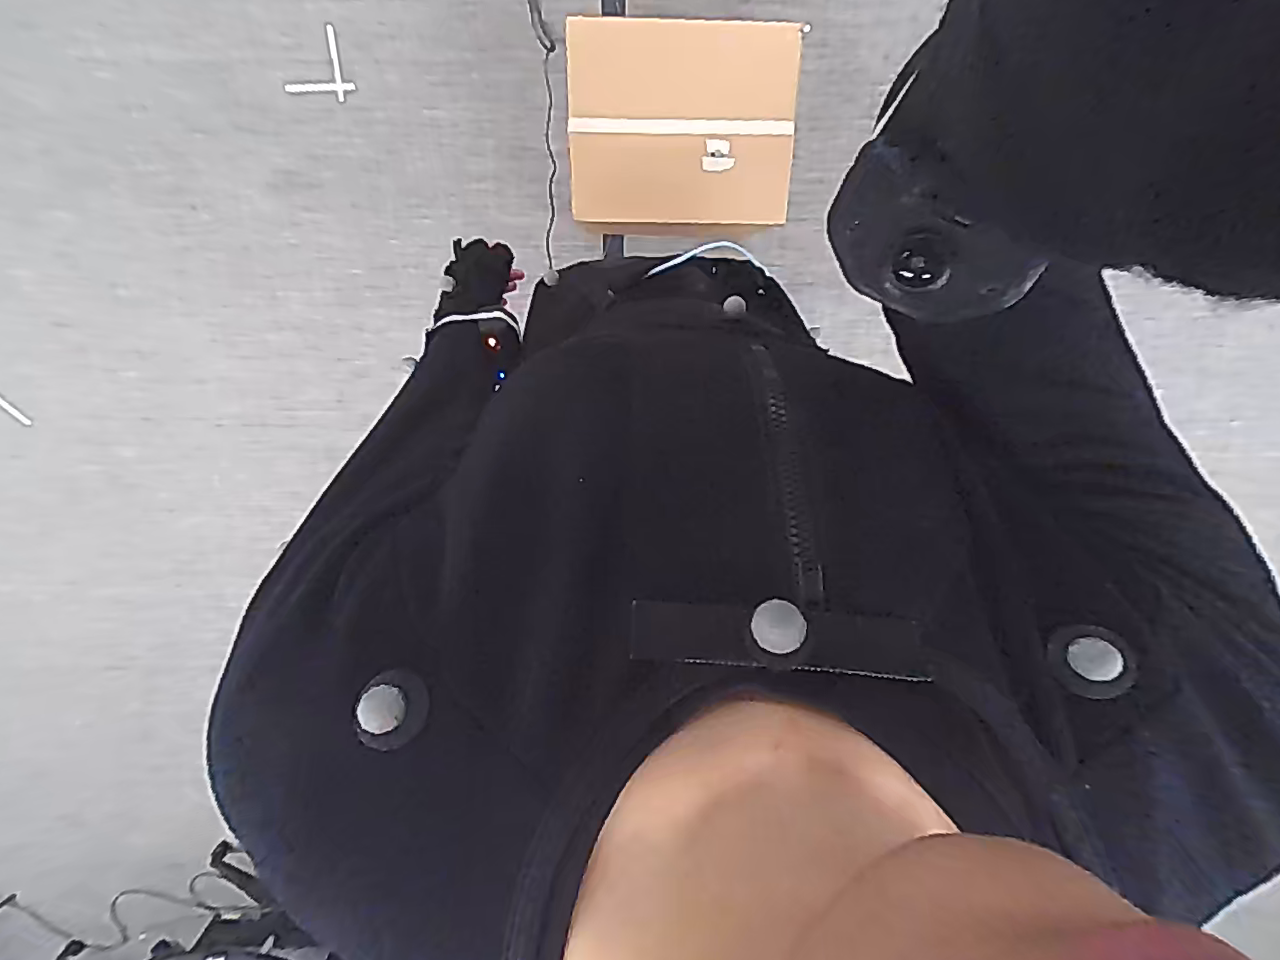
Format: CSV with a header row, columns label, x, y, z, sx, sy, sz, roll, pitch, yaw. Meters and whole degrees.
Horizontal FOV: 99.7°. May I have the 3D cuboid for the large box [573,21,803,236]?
label,x,y,z,sx,sy,sz,roll,pitch,yaw
large box,0.075,-0.685,1.115,0.408,0.320,0.320,1,111,-3
